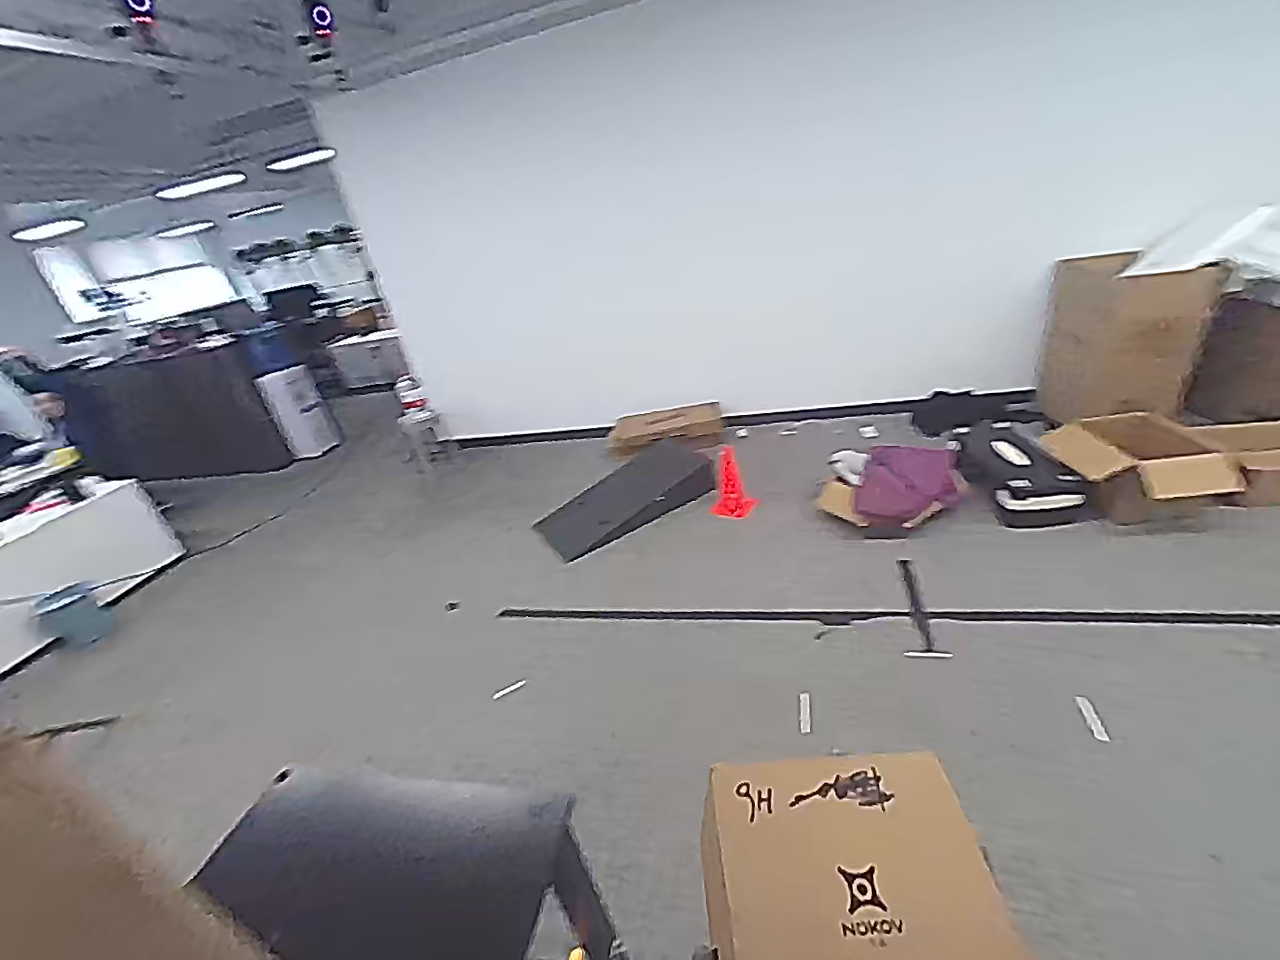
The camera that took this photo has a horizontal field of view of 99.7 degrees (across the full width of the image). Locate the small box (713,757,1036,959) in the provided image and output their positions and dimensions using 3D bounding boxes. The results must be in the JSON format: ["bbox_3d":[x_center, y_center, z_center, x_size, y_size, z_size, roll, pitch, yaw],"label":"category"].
[{"bbox_3d":[0.144,0.318,0.375,0.168,0.176,0.179,-2,41,0],"label":"small box"}]
